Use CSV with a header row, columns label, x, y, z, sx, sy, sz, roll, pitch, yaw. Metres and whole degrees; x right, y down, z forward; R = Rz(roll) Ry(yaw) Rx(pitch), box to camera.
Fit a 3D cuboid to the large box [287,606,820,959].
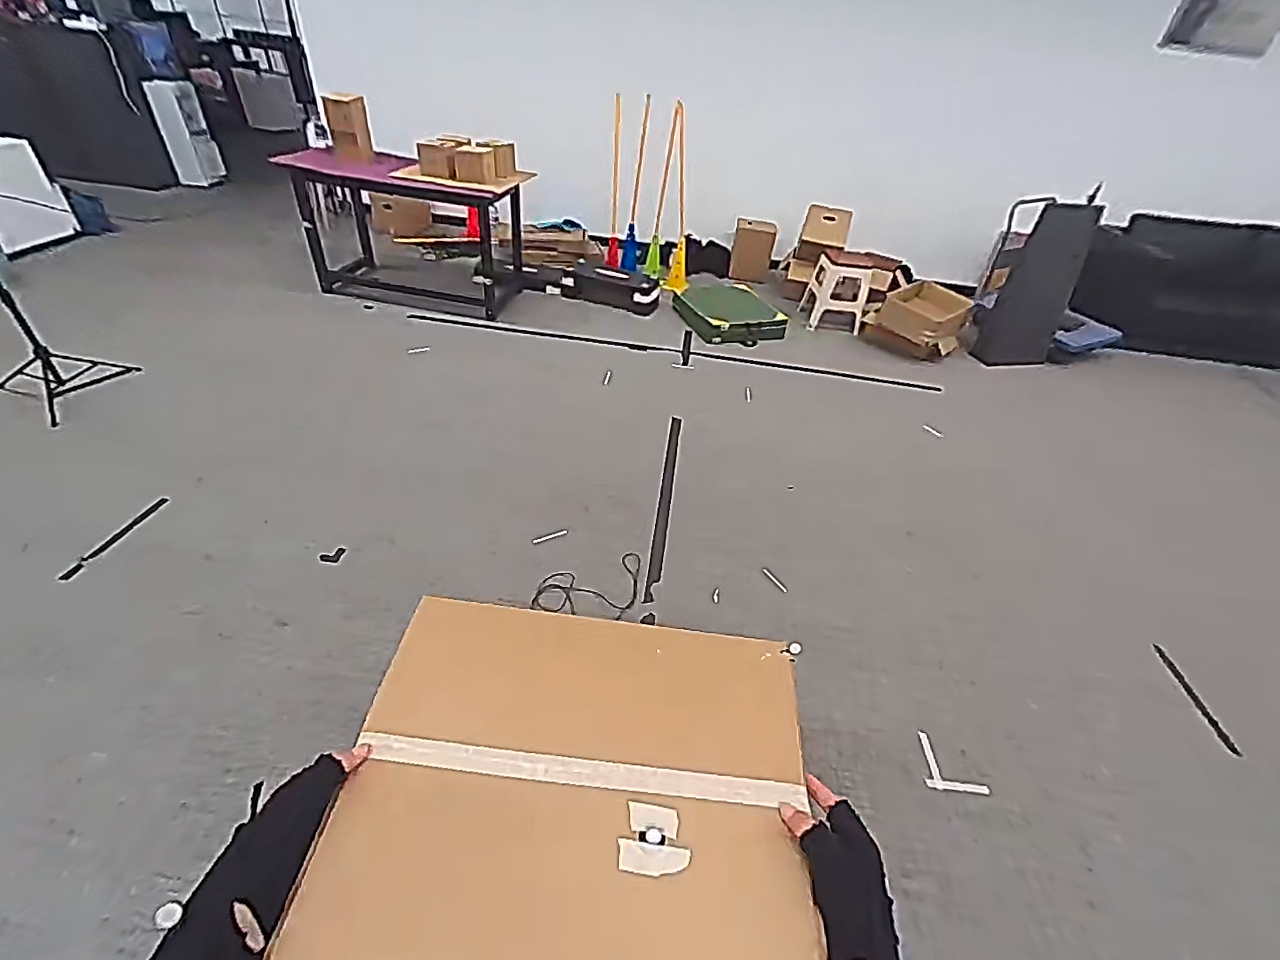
label,x,y,z,sx,sy,sz,roll,pitch,yaw
large box,-0.064,0.374,0.598,0.408,0.320,0.320,8,45,0
